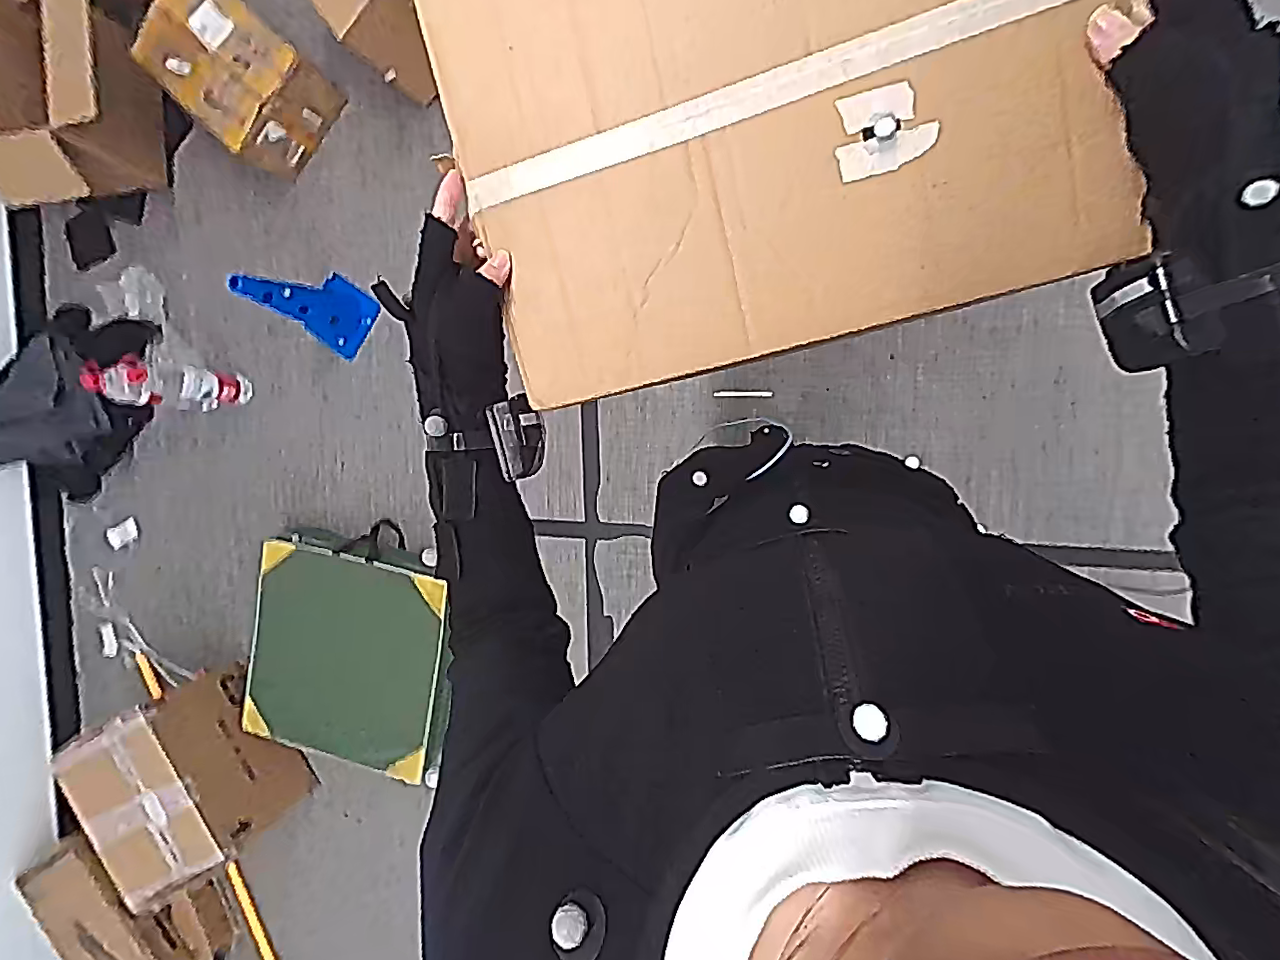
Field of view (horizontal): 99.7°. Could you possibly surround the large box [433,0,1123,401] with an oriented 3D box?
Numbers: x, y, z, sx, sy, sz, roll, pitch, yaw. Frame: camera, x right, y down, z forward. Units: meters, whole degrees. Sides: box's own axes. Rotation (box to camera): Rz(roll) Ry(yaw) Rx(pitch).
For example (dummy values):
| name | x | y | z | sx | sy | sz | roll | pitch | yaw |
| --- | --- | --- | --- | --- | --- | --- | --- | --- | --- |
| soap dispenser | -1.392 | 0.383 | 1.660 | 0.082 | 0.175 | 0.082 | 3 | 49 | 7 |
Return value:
| name | x | y | z | sx | sy | sz | roll | pitch | yaw |
| --- | --- | --- | --- | --- | --- | --- | --- | --- | --- |
| large box | 0.100 | -0.276 | 0.500 | 0.408 | 0.320 | 0.320 | -12 | 100 | 11 |
